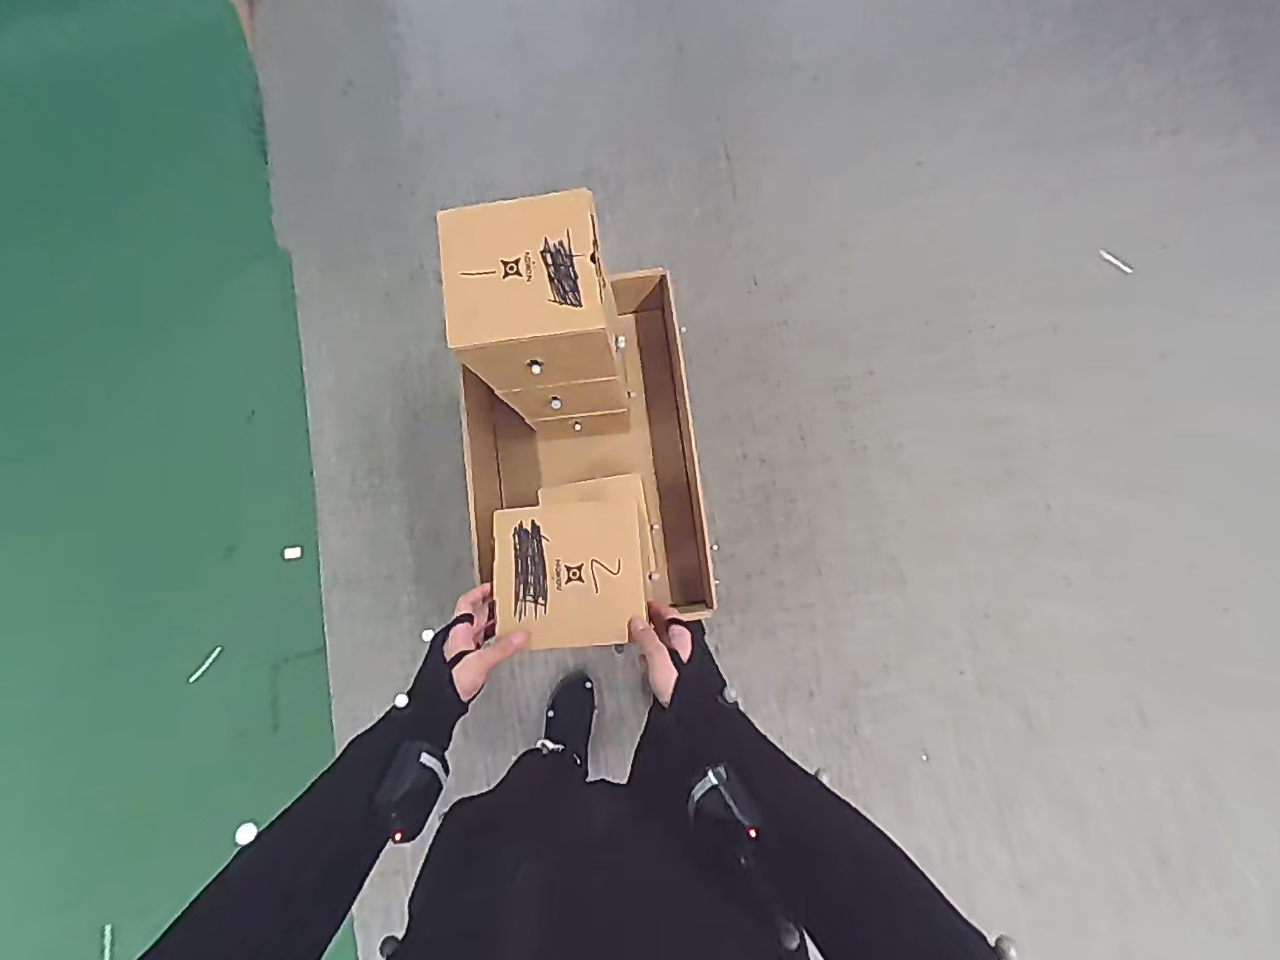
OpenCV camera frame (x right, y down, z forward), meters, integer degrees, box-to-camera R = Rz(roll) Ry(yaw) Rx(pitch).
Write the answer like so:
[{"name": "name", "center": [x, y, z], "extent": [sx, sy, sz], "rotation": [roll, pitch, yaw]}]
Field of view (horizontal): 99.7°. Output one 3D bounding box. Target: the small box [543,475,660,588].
[{"name": "small box", "center": [-0.062, 0.093, 0.952], "extent": [0.179, 0.176, 0.168], "rotation": [-9, 81, 1]}]

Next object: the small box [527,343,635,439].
[{"name": "small box", "center": [-0.105, -0.175, 0.995], "extent": [0.179, 0.176, 0.168], "rotation": [-5, 83, 1]}]

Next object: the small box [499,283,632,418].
[{"name": "small box", "center": [-0.111, -0.199, 0.833], "extent": [0.179, 0.176, 0.168], "rotation": [-6, 83, 3]}]

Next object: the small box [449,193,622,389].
[{"name": "small box", "center": [-0.117, -0.220, 0.670], "extent": [0.179, 0.176, 0.168], "rotation": [-6, 83, 2]}]
